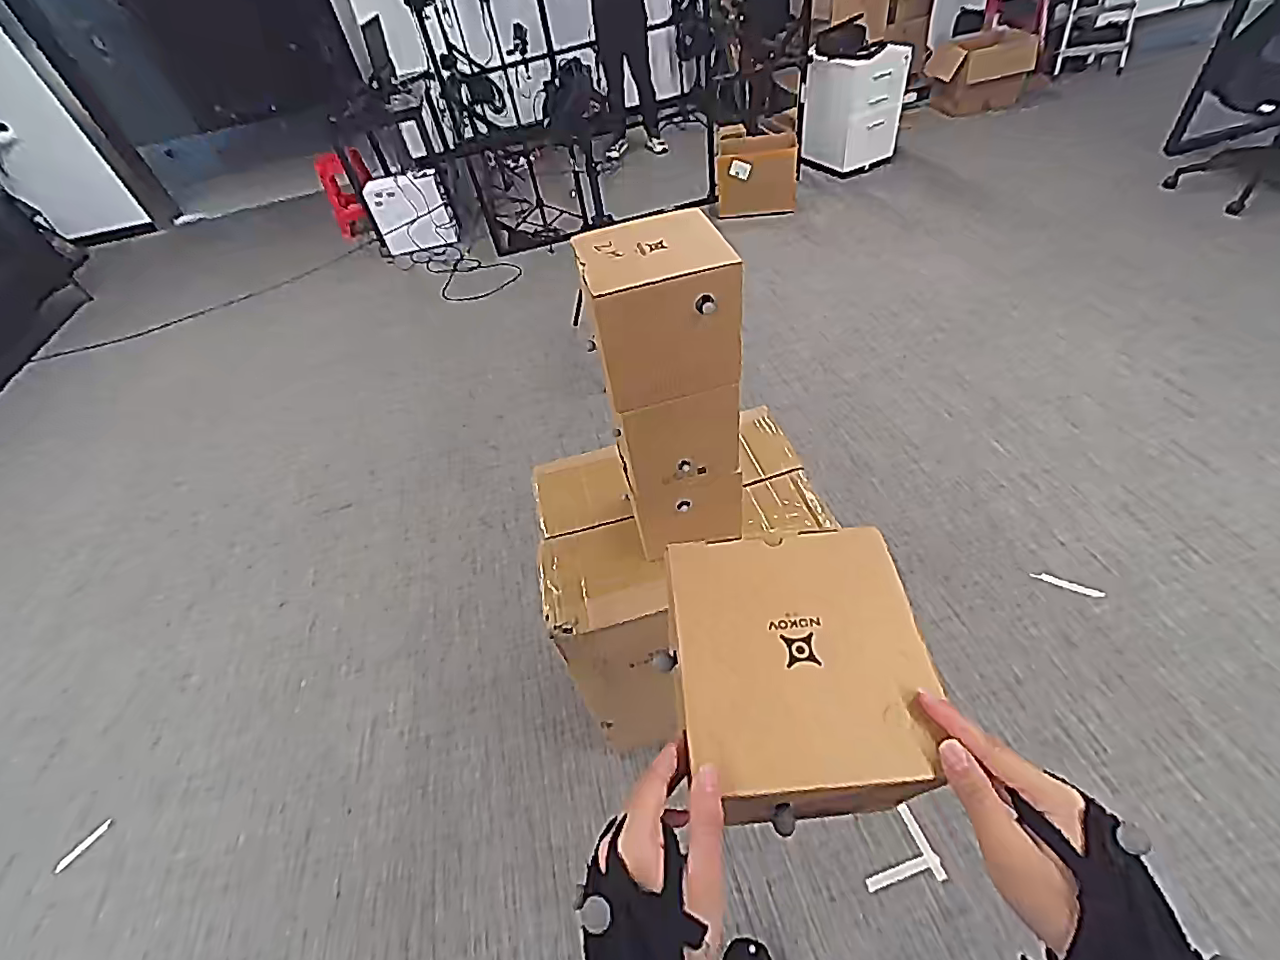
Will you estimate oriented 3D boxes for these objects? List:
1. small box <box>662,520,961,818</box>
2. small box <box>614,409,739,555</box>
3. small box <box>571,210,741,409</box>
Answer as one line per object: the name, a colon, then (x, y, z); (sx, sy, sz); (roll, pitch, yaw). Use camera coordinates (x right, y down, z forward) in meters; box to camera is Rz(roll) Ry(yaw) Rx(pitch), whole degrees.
small box: (0.110, 0.156, 0.430); (0.168, 0.176, 0.179); (-6, 50, 1)
small box: (0.066, 0.008, 0.937); (0.179, 0.176, 0.168); (-15, 47, -4)
small box: (0.021, -0.219, 0.703); (0.179, 0.176, 0.168); (-15, 47, -3)
